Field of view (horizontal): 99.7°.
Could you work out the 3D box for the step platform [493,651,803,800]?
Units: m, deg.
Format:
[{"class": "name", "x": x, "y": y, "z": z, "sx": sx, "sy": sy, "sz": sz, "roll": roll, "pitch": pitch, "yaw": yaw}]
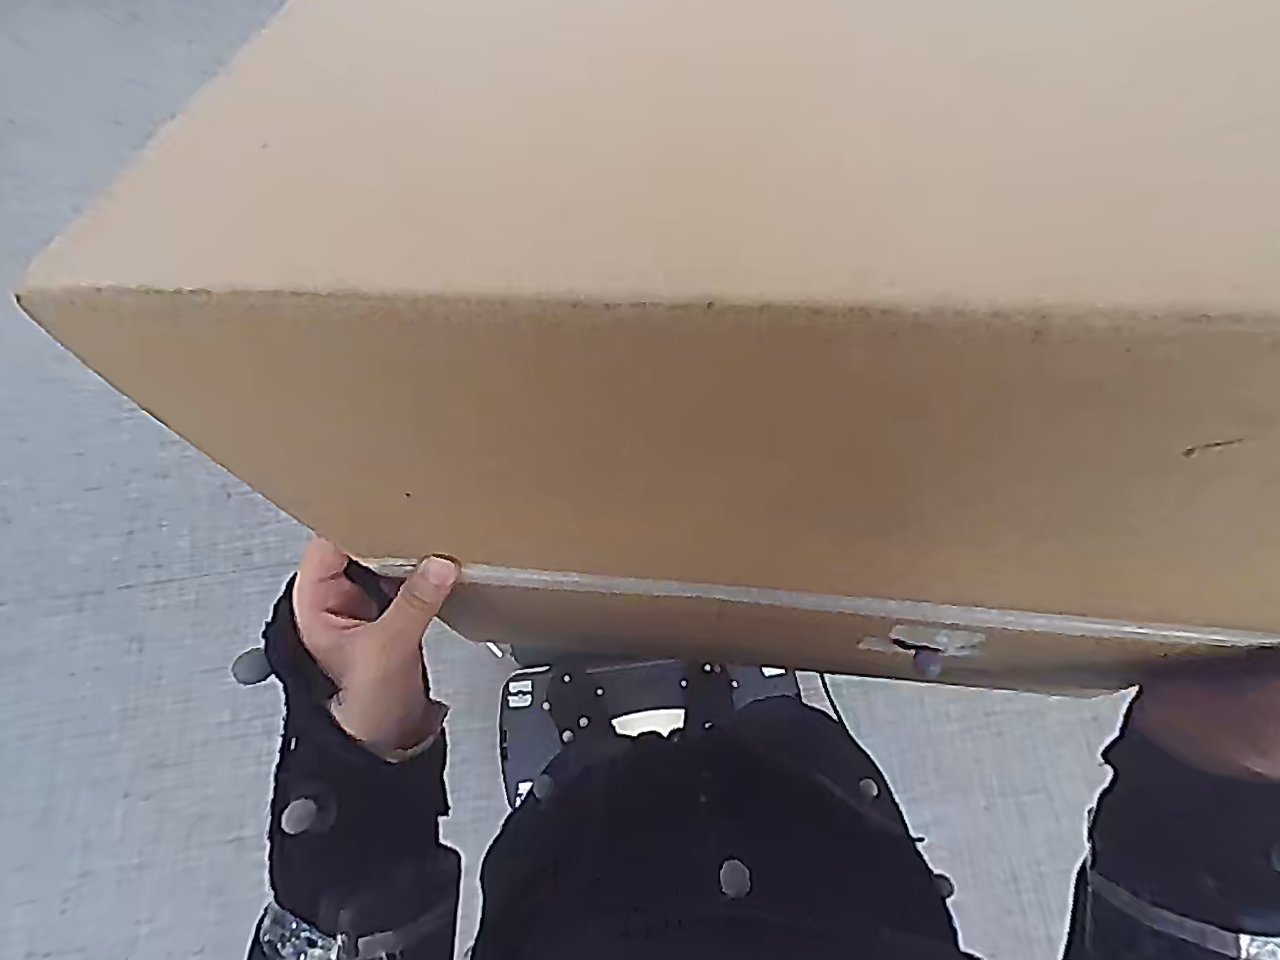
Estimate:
[{"class": "step platform", "x": 0.017, "y": 0.553, "z": 1.238, "sx": 0.684, "sy": 0.204, "sz": 0.286, "roll": -2, "pitch": 74, "yaw": 1}]
